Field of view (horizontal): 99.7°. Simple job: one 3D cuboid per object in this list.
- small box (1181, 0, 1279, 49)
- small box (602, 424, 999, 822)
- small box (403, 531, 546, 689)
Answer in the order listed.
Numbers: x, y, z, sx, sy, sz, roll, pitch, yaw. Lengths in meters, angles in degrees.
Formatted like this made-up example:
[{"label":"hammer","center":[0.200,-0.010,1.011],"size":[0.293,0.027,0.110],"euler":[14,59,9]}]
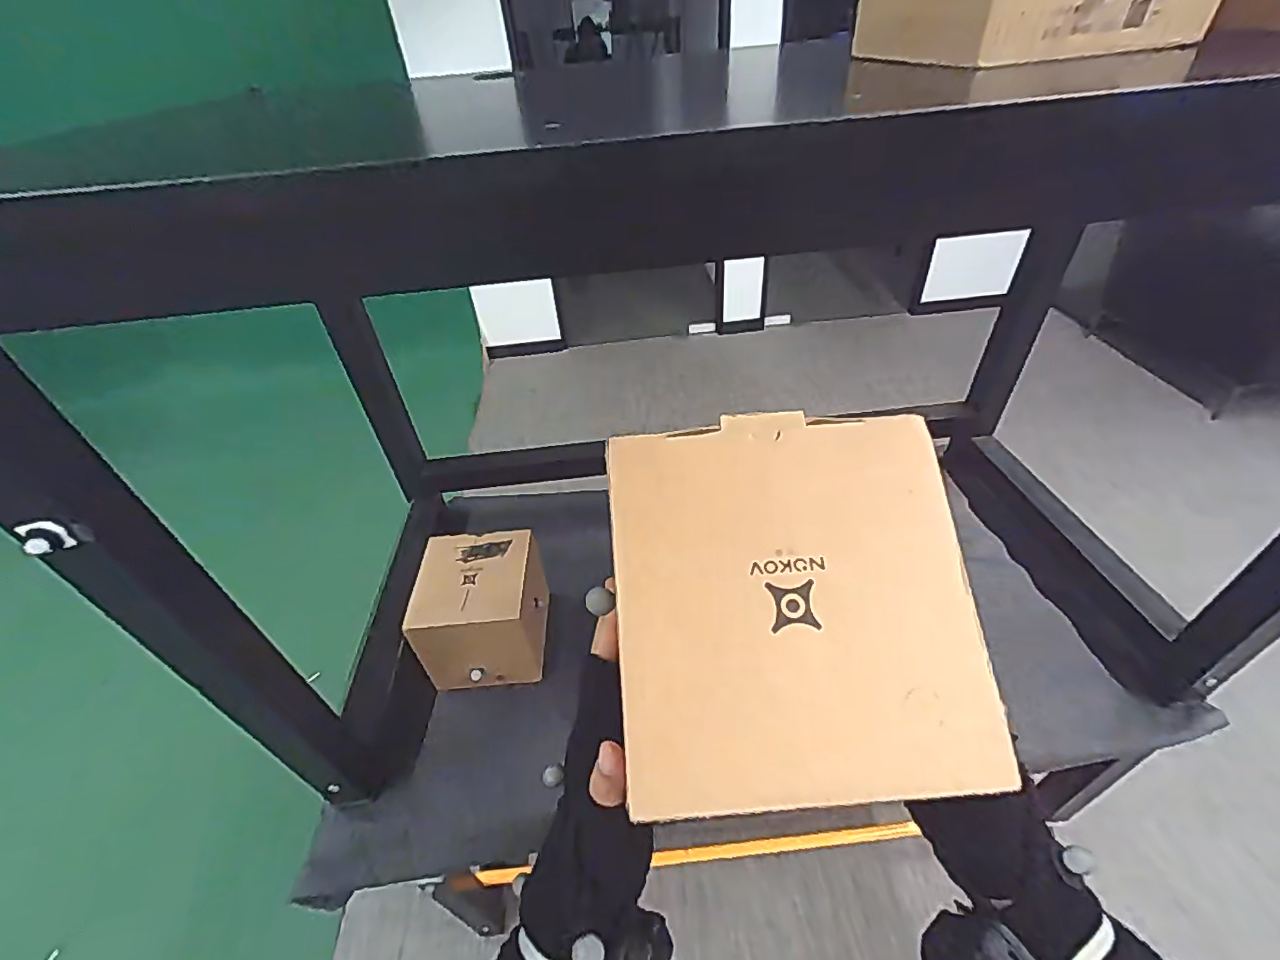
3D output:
[{"label":"small box","center":[0.524,-0.387,0.341],"size":[0.168,0.176,0.179],"euler":[1,41,7]},{"label":"small box","center":[0.069,0.083,0.333],"size":[0.168,0.176,0.179],"euler":[-5,71,-1]},{"label":"small box","center":[-0.246,0.205,0.857],"size":[0.168,0.176,0.179],"euler":[-5,41,0]}]
